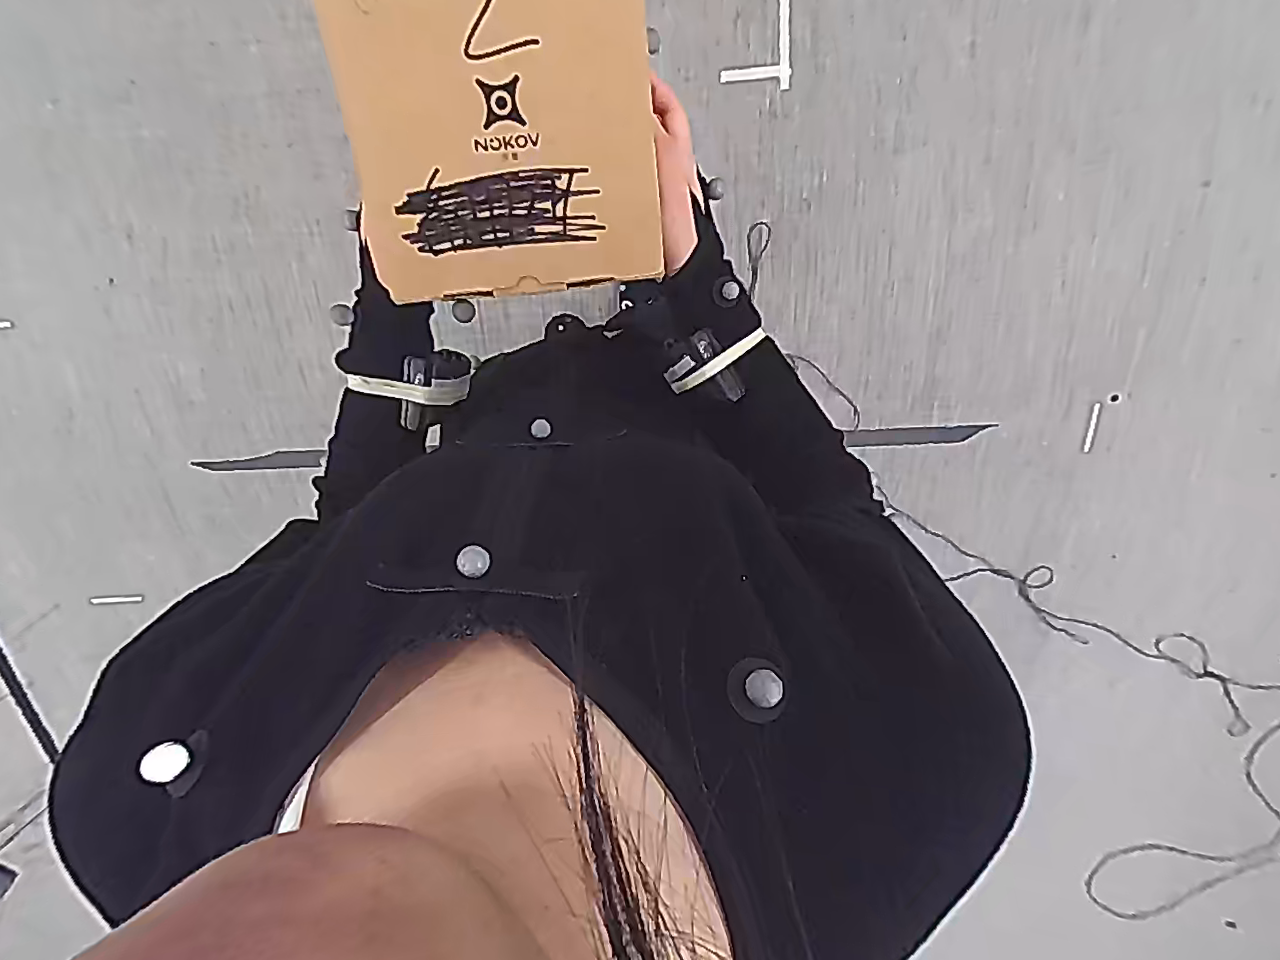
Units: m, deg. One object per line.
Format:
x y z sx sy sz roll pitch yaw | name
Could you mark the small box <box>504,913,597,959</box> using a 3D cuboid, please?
-0.165 0.950 1.001 0.168 0.176 0.179 -1 110 -3 | small box
